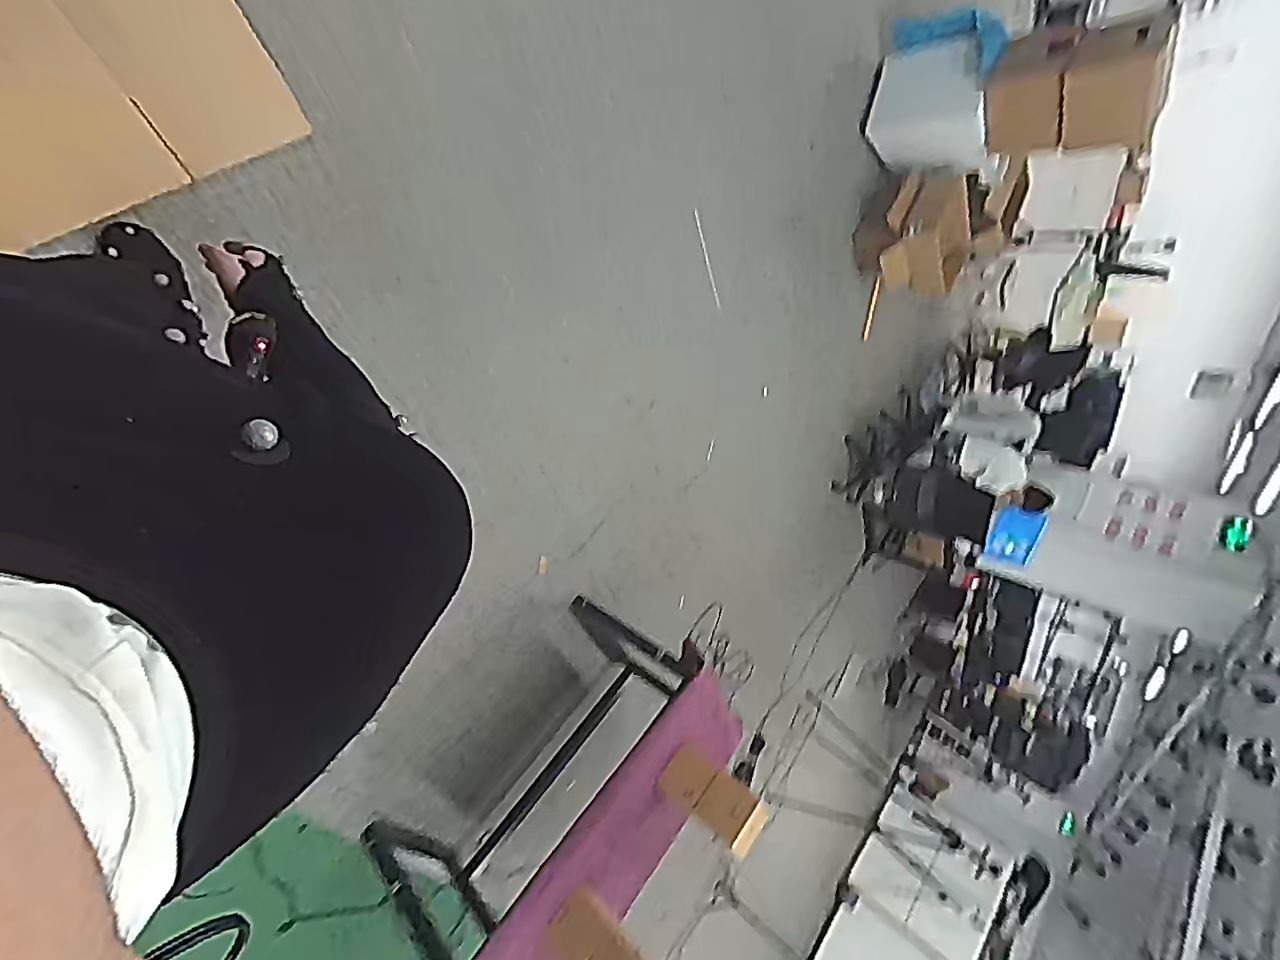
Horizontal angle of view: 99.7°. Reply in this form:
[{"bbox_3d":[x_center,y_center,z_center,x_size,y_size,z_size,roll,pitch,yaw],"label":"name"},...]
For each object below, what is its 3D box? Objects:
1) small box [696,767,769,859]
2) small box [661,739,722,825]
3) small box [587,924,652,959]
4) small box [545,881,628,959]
[{"bbox_3d":[0.306,1.121,1.828,0.179,0.176,0.168,-45,133,-24],"label":"small box"},{"bbox_3d":[0.194,1.078,1.937,0.179,0.176,0.168,-44,134,-24],"label":"small box"},{"bbox_3d":[-0.058,1.464,1.587,0.179,0.176,0.168,-45,133,-24],"label":"small box"},{"bbox_3d":[-0.173,1.417,1.694,0.179,0.176,0.168,-46,135,-23],"label":"small box"}]
